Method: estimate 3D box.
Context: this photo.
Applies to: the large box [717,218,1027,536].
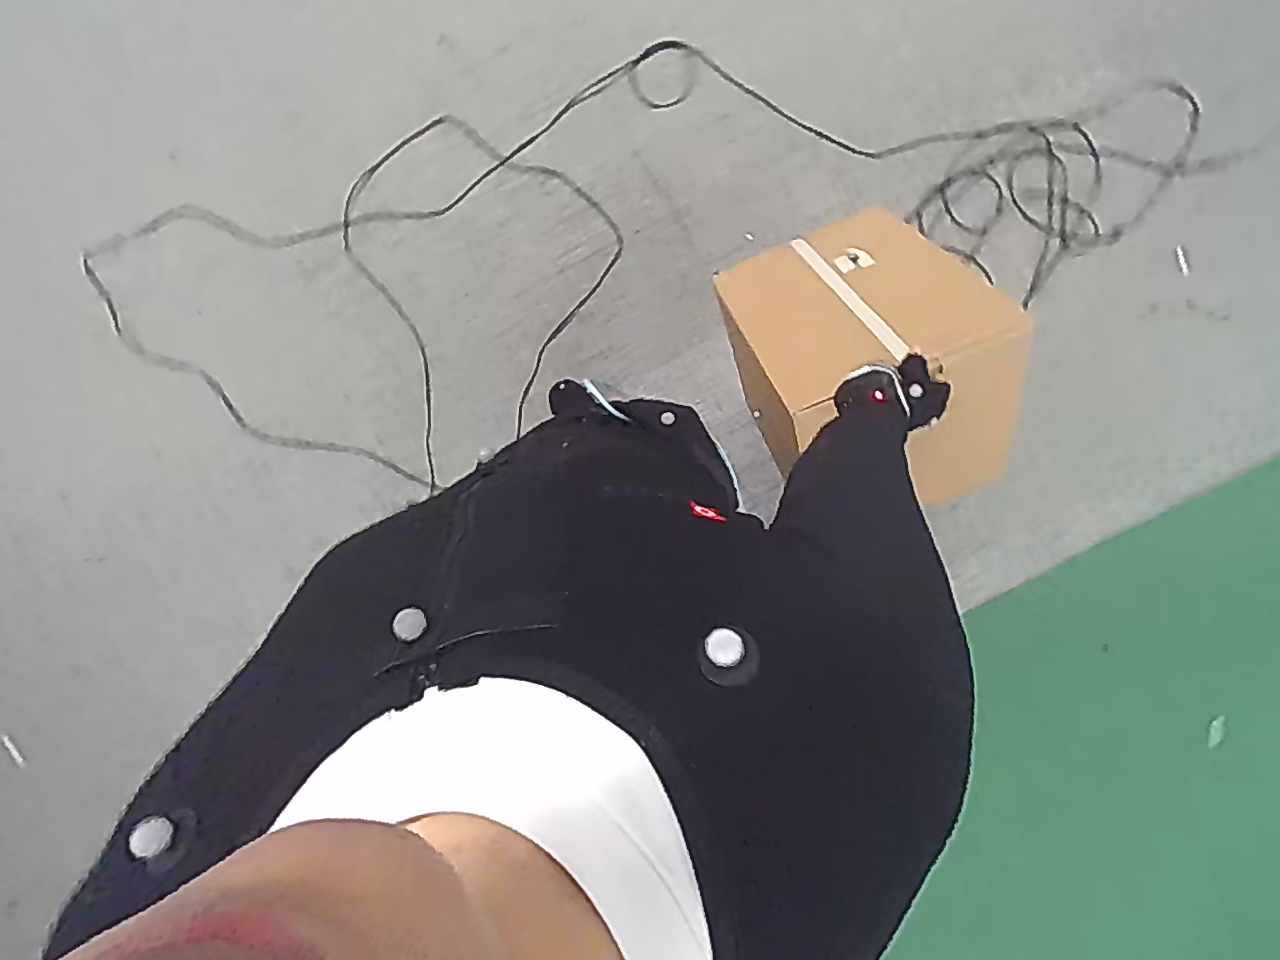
[{"bbox_3d":[0.363,-0.180,0.935,0.320,0.408,0.320,-19,135,7],"label":"large box"}]
